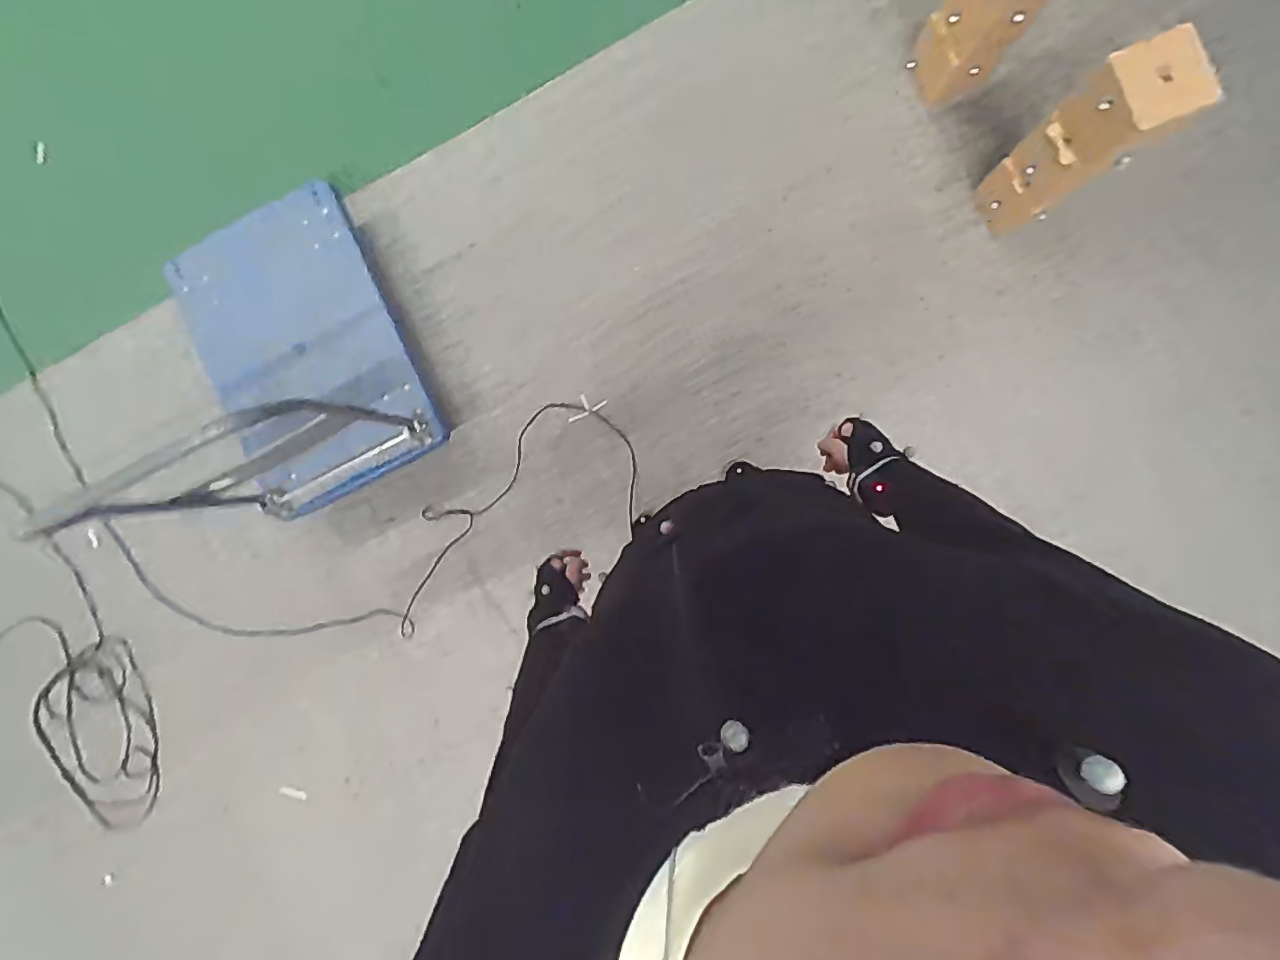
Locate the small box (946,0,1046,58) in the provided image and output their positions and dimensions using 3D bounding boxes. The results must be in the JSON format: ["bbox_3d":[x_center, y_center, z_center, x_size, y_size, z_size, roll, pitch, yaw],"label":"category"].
[{"bbox_3d":[0.898,-1.219,1.359,0.168,0.176,0.179,11,89,6],"label":"small box"}]

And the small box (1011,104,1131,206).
[{"bbox_3d":[1.069,-0.815,1.329,0.179,0.176,0.168,-19,87,4],"label":"small box"}]

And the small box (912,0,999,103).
[{"bbox_3d":[0.894,-1.208,1.514,0.179,0.176,0.168,-21,88,3],"label":"small box"}]

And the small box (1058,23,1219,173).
[{"bbox_3d":[1.058,-0.811,1.166,0.168,0.176,0.179,-19,88,4],"label":"small box"}]

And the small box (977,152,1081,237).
[{"bbox_3d":[1.072,-0.809,1.494,0.179,0.176,0.168,-23,88,4],"label":"small box"}]
